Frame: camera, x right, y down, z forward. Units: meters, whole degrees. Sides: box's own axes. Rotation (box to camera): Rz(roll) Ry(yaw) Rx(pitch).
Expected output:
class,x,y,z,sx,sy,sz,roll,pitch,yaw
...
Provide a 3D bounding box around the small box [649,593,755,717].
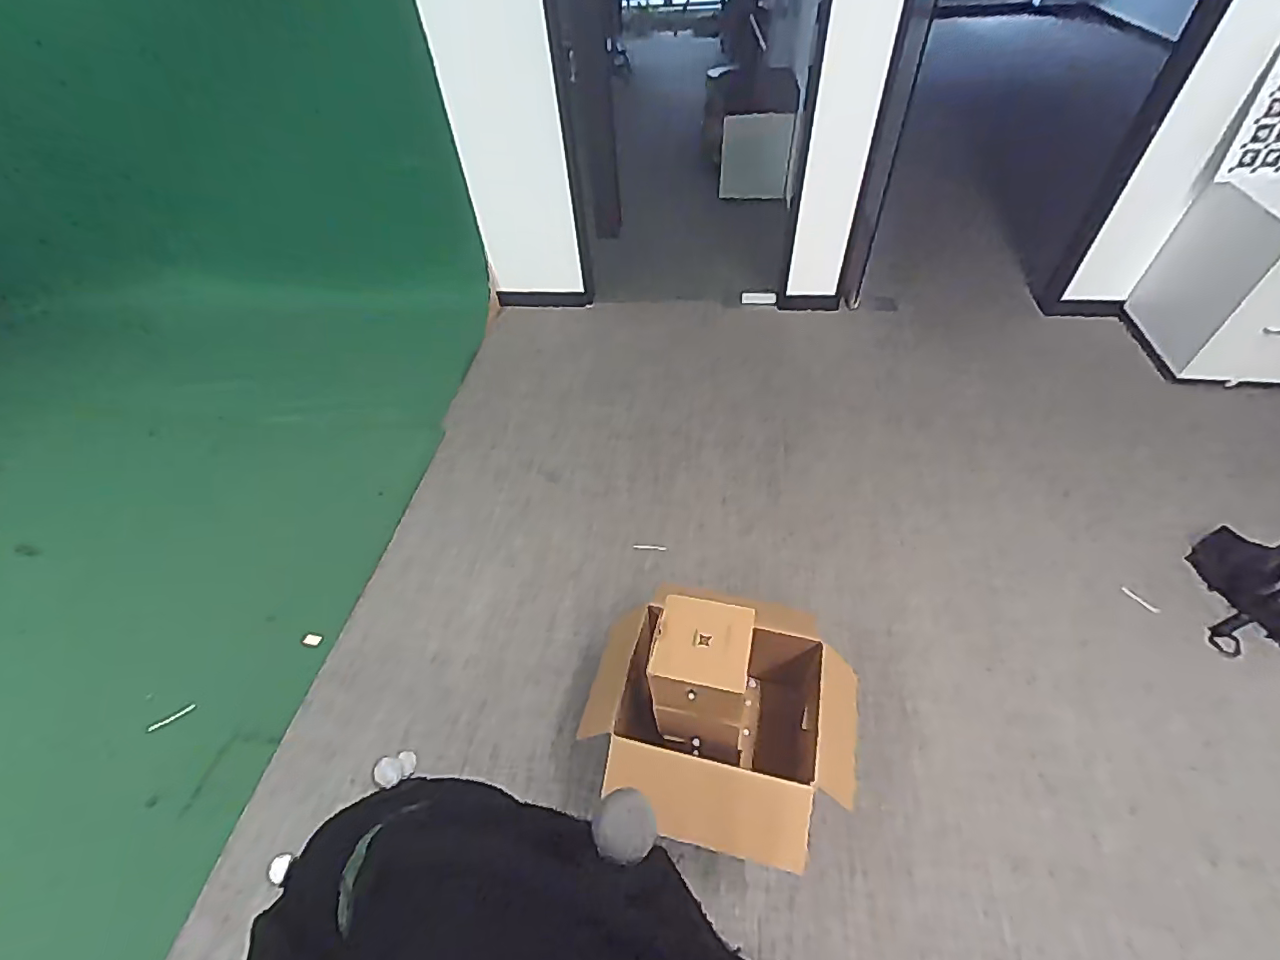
class,x,y,z,sx,sy,sz,roll,pitch,yaw
small box,0.125,0.346,1.062,0.179,0.176,0.168,7,51,13
